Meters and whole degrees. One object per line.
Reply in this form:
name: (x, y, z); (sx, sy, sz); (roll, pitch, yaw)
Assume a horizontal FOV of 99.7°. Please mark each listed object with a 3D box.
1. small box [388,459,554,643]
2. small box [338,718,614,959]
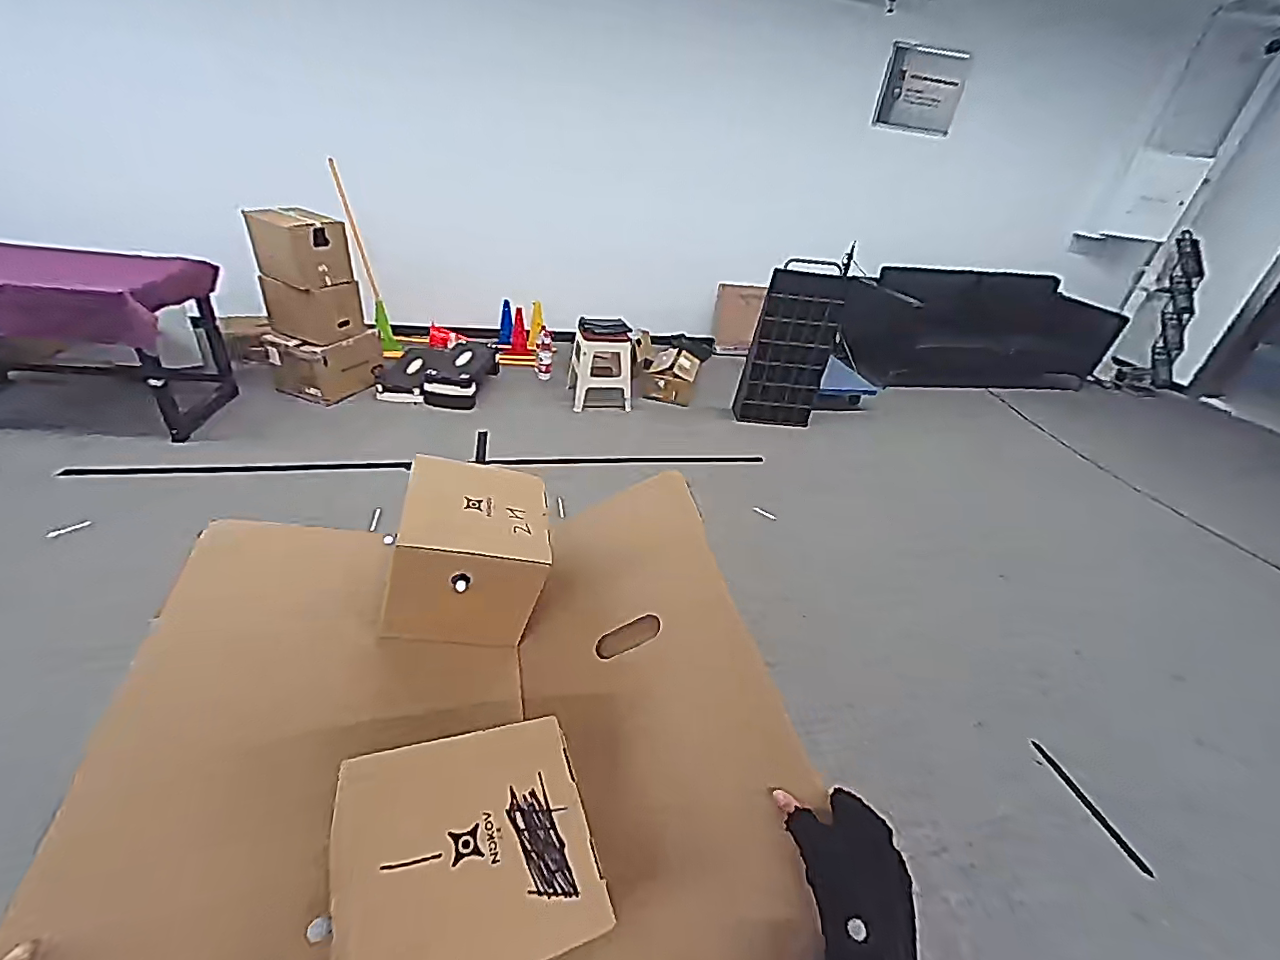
small box: (-0.225, 0.099, 0.723); (0.179, 0.176, 0.168); (12, 36, -22)
small box: (-0.150, 0.333, 0.457); (0.179, 0.176, 0.168); (2, 41, -31)
